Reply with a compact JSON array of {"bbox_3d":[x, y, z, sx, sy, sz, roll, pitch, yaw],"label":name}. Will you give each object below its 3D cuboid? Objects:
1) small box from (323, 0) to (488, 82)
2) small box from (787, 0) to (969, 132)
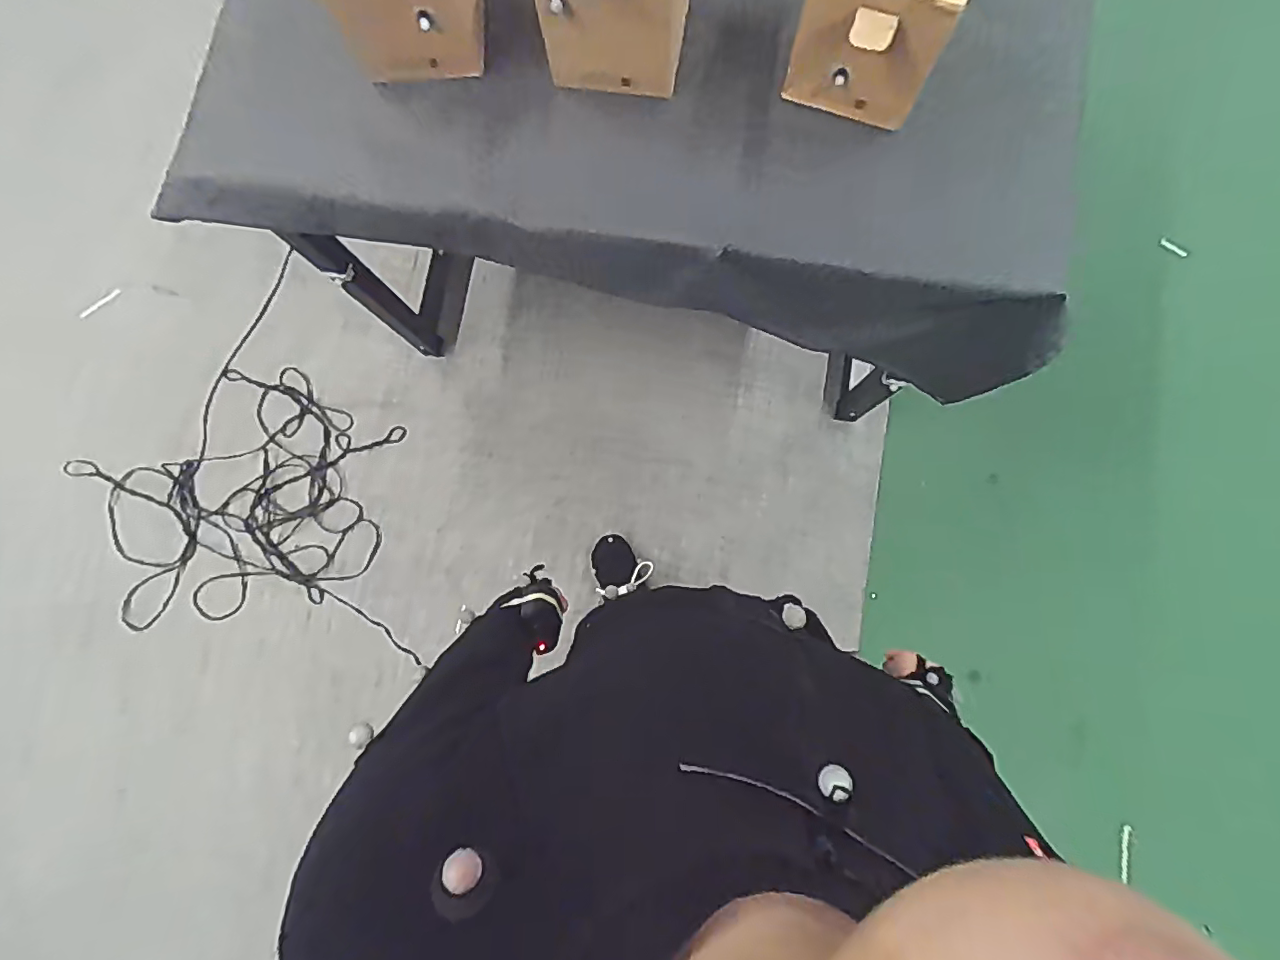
[{"bbox_3d":[-0.302,-0.654,0.698,0.168,0.176,0.179,-2,80,1],"label":"small box"},{"bbox_3d":[0.296,-0.581,0.661,0.168,0.176,0.179,20,84,5],"label":"small box"}]
